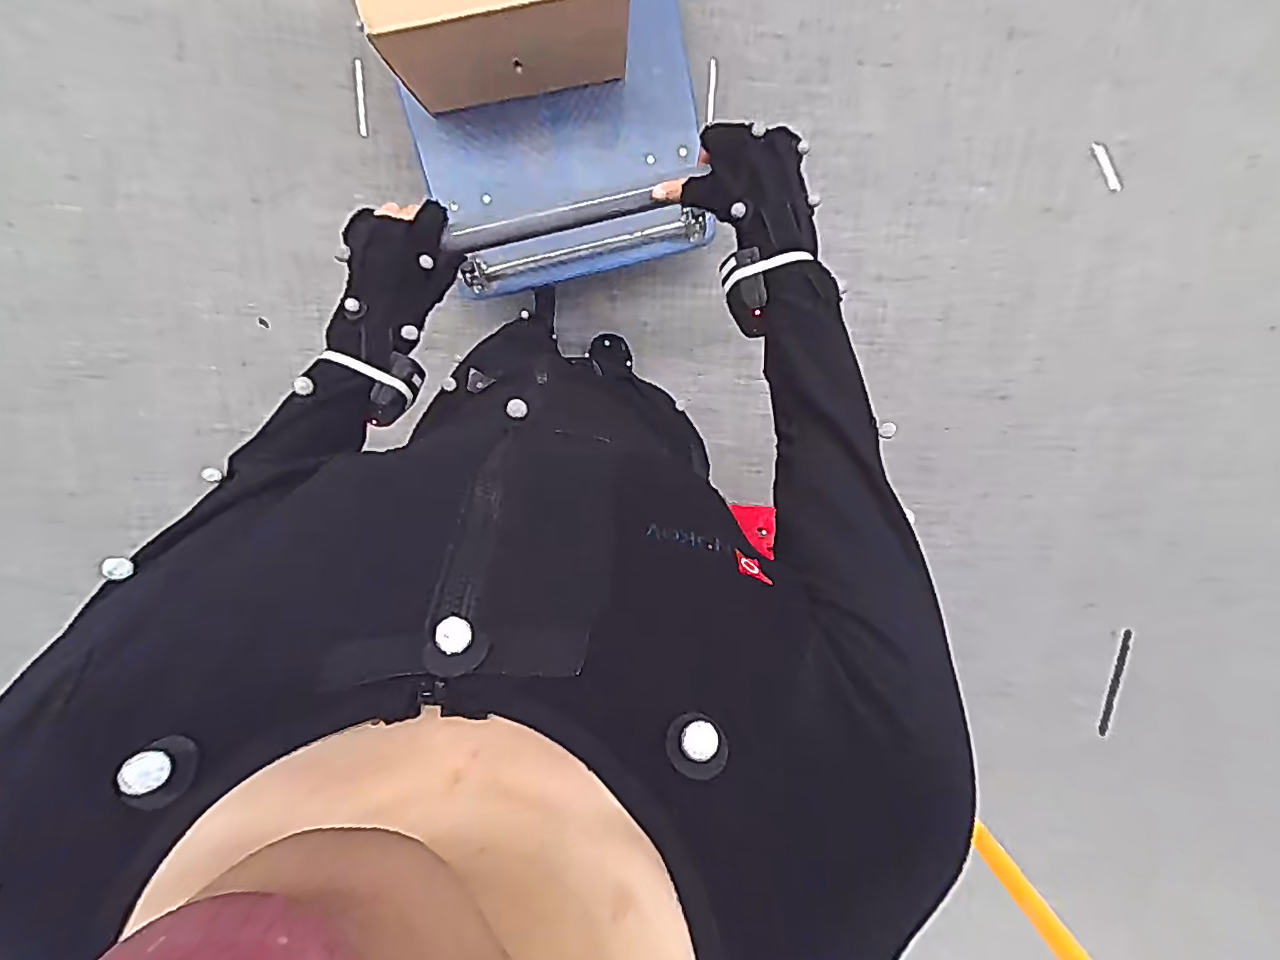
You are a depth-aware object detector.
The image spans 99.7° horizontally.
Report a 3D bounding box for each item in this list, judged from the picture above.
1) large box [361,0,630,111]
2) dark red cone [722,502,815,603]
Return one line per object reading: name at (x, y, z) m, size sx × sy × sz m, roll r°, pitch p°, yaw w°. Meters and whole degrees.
large box at (-0.244, -0.885, 0.908) m, size 0.408 × 0.320 × 0.320 m, roll -12°, pitch 105°, yaw 1°
dark red cone at (0.344, 0.201, 1.356) m, size 0.201 × 0.394 × 0.202 m, roll 1°, pitch 105°, yaw -5°
